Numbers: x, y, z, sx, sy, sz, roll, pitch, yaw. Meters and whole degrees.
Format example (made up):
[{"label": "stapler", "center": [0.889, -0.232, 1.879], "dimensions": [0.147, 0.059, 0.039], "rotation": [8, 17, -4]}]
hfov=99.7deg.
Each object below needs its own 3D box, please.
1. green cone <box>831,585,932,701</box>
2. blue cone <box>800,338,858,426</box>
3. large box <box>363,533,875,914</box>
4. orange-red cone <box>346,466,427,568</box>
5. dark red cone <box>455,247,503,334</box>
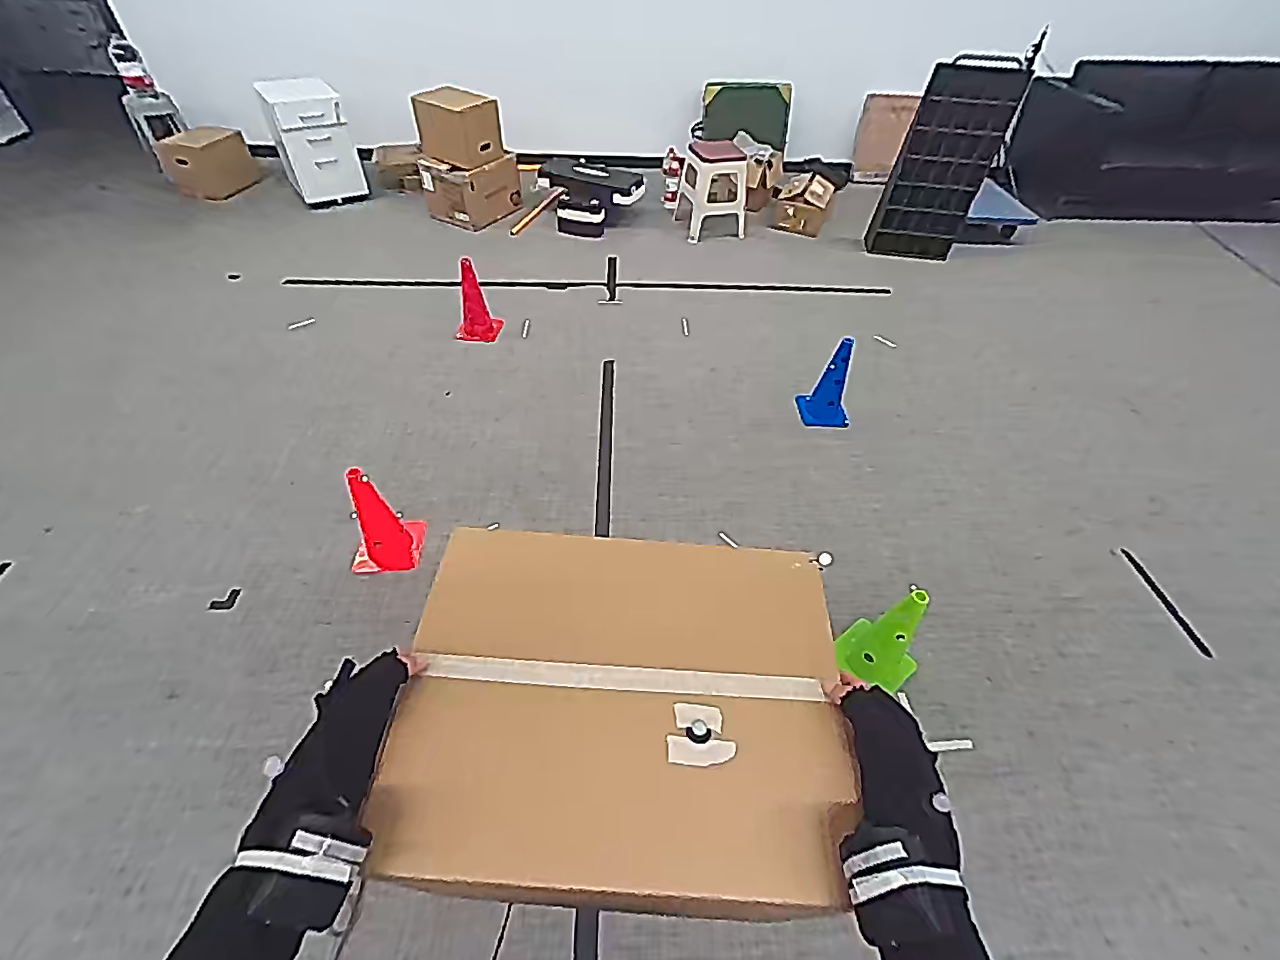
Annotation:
[{"label": "green cone", "center": [0.683, 0.399, 1.450], "dimensions": [0.202, 0.368, 0.200], "rotation": [-29, 56, -28]}, {"label": "blue cone", "center": [0.806, -0.414, 2.227], "dimensions": [0.192, 0.380, 0.193], "rotation": [4, 48, -1]}, {"label": "large box", "center": [-0.019, 0.284, 0.620], "dimensions": [0.408, 0.320, 0.320], "rotation": [5, 50, 0]}, {"label": "orange-red cone", "center": [-0.811, 0.092, 1.650], "dimensions": [0.198, 0.360, 0.199], "rotation": [-2, 49, -4]}, {"label": "dark red cone", "center": [-0.773, -0.880, 2.513], "dimensions": [0.201, 0.394, 0.202], "rotation": [6, 48, 0]}]
